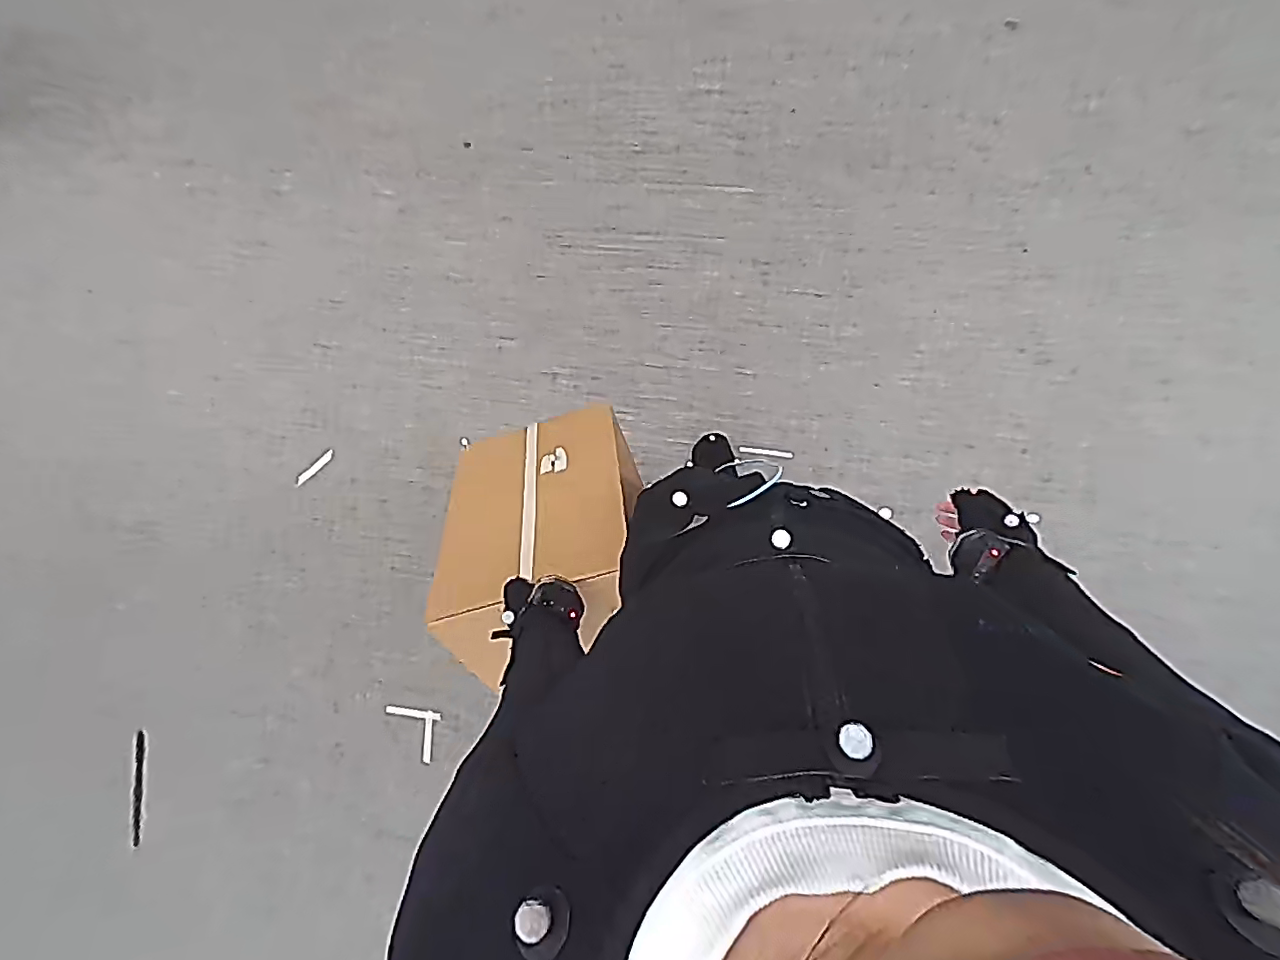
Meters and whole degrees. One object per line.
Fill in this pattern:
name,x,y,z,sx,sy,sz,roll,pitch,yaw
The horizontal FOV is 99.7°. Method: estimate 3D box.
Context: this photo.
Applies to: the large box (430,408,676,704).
large box,-0.143,0.136,1.014,0.320,0.408,0.320,-16,132,6
